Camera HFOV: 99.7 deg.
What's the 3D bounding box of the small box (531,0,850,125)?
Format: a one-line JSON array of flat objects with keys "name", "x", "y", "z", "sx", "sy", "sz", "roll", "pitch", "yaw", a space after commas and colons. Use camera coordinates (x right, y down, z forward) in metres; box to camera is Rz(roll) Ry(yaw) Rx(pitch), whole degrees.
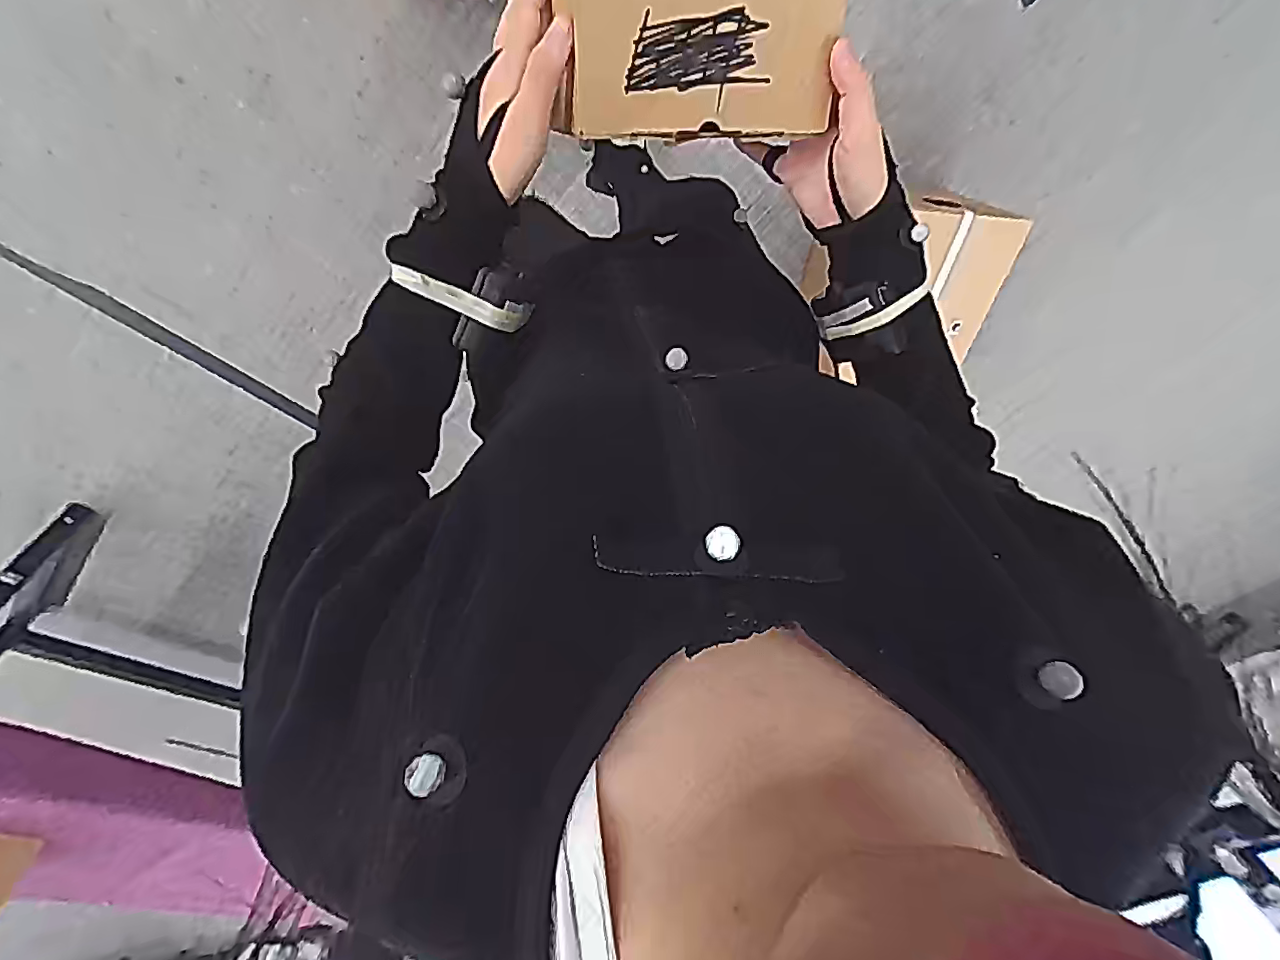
[{"name": "small box", "x": 0.023, "y": -0.336, "z": 0.346, "sx": 0.168, "sy": 0.176, "sz": 0.179, "roll": -10, "pitch": 125, "yaw": -15}]
